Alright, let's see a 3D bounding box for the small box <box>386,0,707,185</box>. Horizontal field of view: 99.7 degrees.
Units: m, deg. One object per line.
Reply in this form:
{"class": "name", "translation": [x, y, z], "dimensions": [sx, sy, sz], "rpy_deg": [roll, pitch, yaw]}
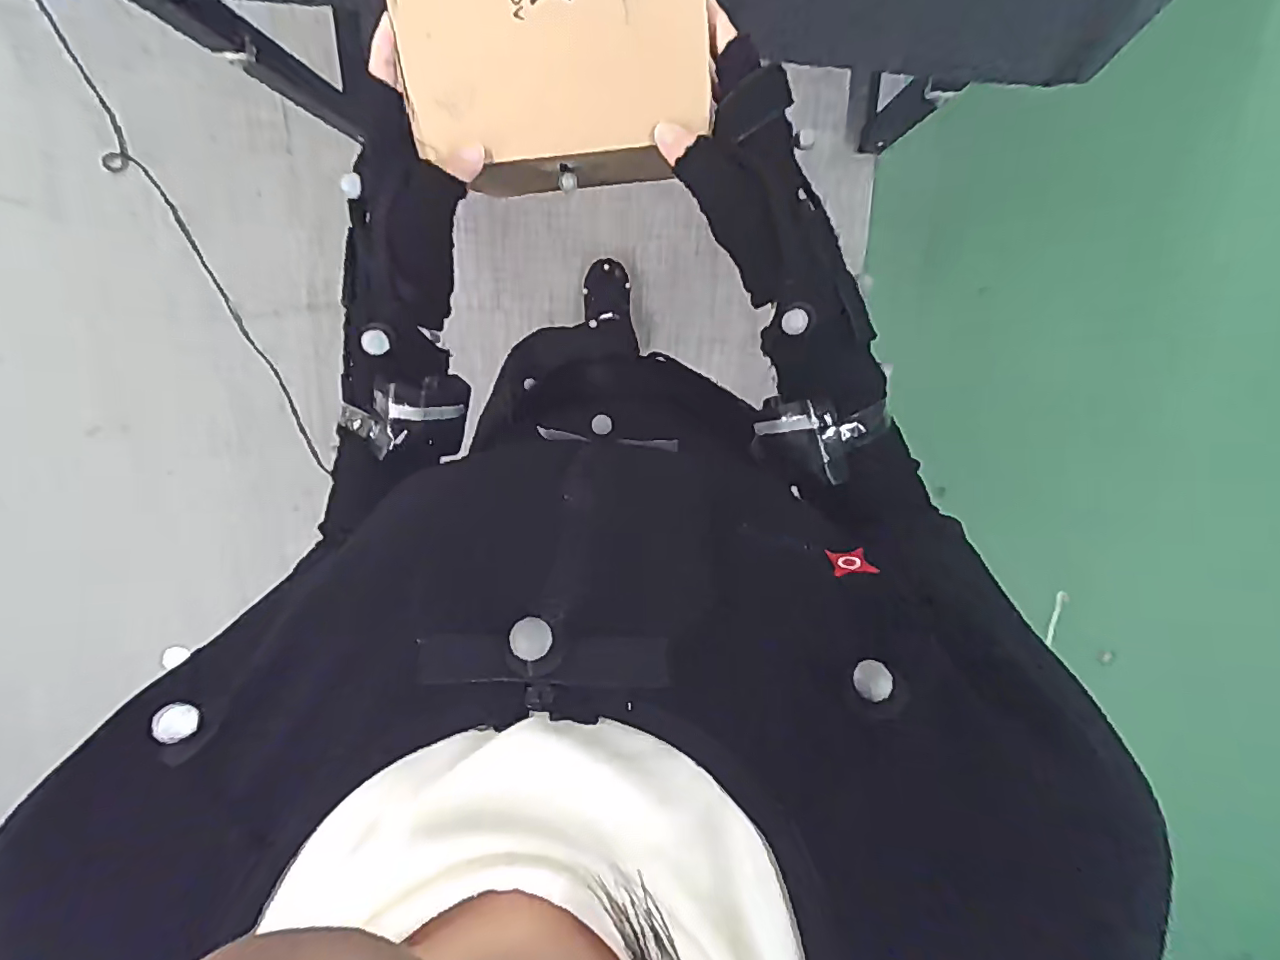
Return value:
{"class": "small box", "translation": [-0.052, -0.304, 0.360], "dimensions": [0.179, 0.176, 0.168], "rpy_deg": [-5, 113, 3]}
